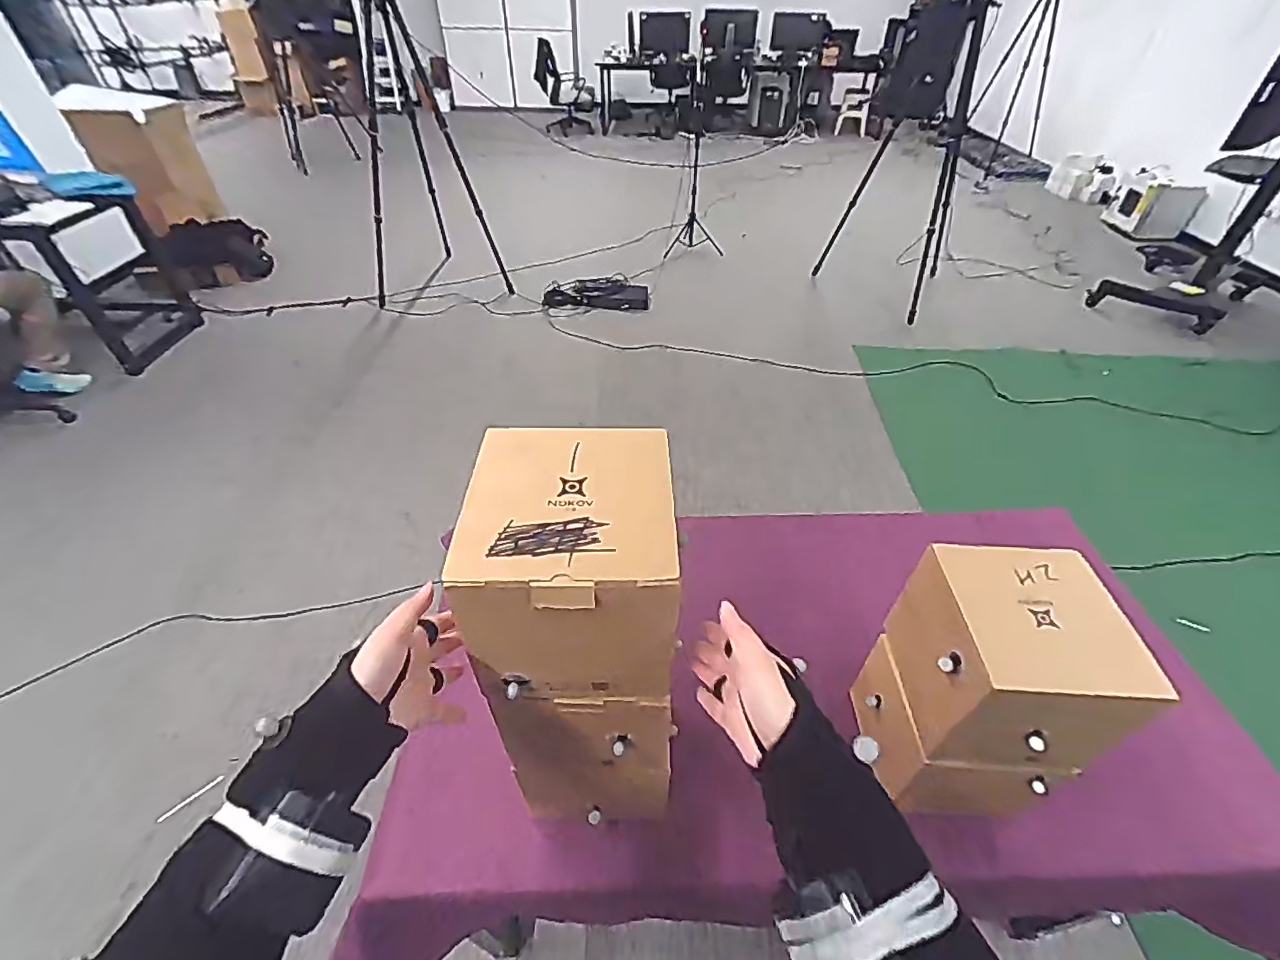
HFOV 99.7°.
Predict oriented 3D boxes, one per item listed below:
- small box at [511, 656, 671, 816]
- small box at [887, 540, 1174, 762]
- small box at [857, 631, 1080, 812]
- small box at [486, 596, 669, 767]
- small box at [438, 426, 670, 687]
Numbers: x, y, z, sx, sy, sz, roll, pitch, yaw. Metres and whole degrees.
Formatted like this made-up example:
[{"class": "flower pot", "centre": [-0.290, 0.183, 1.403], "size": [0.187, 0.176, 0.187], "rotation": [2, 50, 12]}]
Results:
[{"class": "small box", "centre": [-0.054, 0.317, 0.700], "size": [0.179, 0.176, 0.168], "rotation": [1, 43, 0]}, {"class": "small box", "centre": [0.398, 0.189, 0.595], "size": [0.168, 0.176, 0.179], "rotation": [3, 43, 2]}, {"class": "small box", "centre": [0.399, 0.314, 0.703], "size": [0.179, 0.176, 0.168], "rotation": [1, 43, 1]}, {"class": "small box", "centre": [-0.052, 0.194, 0.593], "size": [0.168, 0.176, 0.179], "rotation": [2, 42, 1]}, {"class": "small box", "centre": [-0.059, 0.070, 0.485], "size": [0.168, 0.176, 0.179], "rotation": [0, 42, -1]}]
